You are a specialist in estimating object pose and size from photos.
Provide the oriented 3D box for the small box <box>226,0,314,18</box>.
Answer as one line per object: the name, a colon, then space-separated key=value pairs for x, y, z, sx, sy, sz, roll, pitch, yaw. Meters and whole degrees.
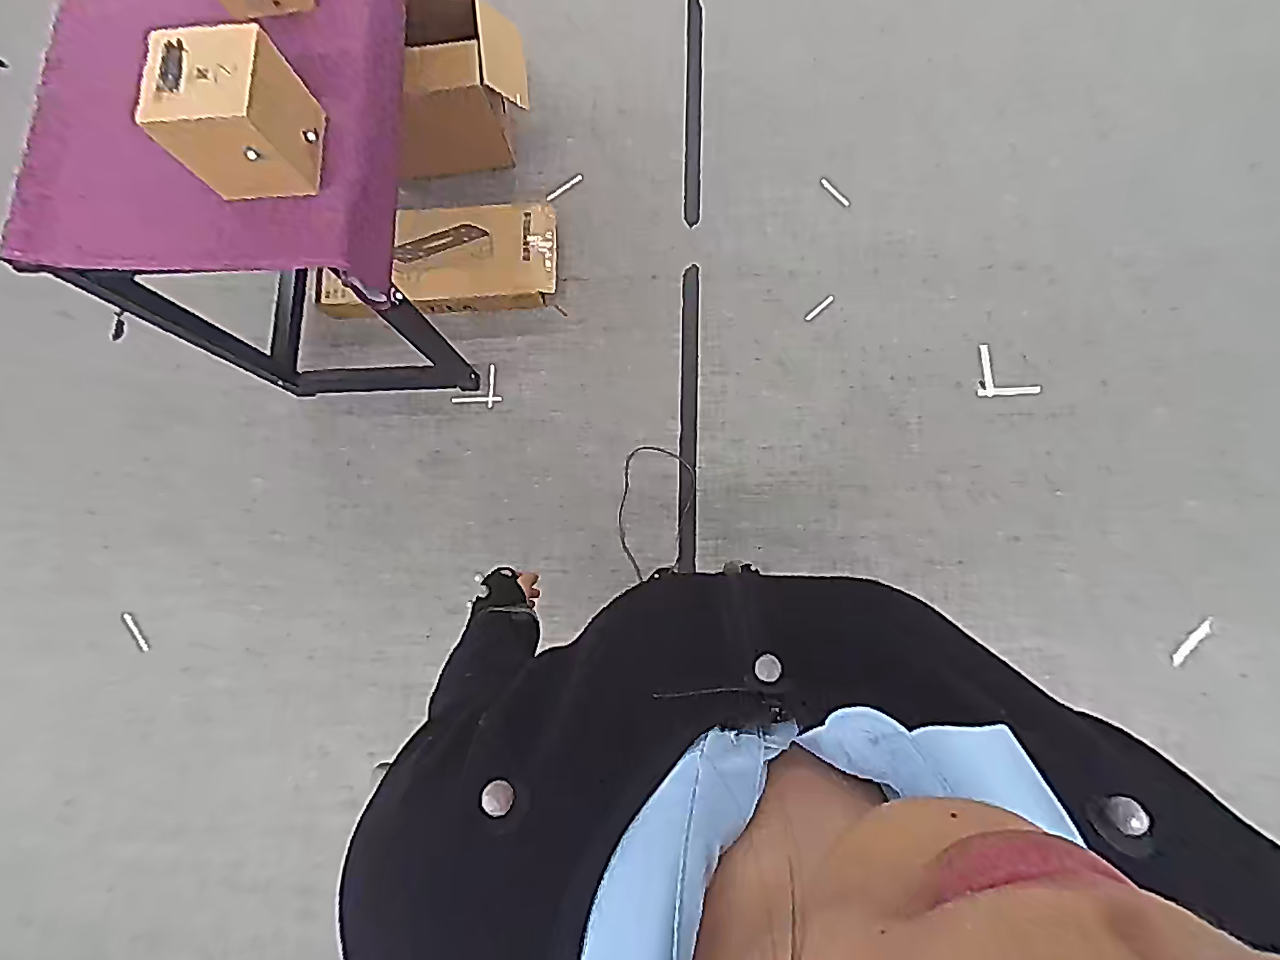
small box: x=-0.700 y=-0.977 z=0.956 sx=0.168 sy=0.176 sz=0.179 roll=-2 pitch=80 yaw=6
